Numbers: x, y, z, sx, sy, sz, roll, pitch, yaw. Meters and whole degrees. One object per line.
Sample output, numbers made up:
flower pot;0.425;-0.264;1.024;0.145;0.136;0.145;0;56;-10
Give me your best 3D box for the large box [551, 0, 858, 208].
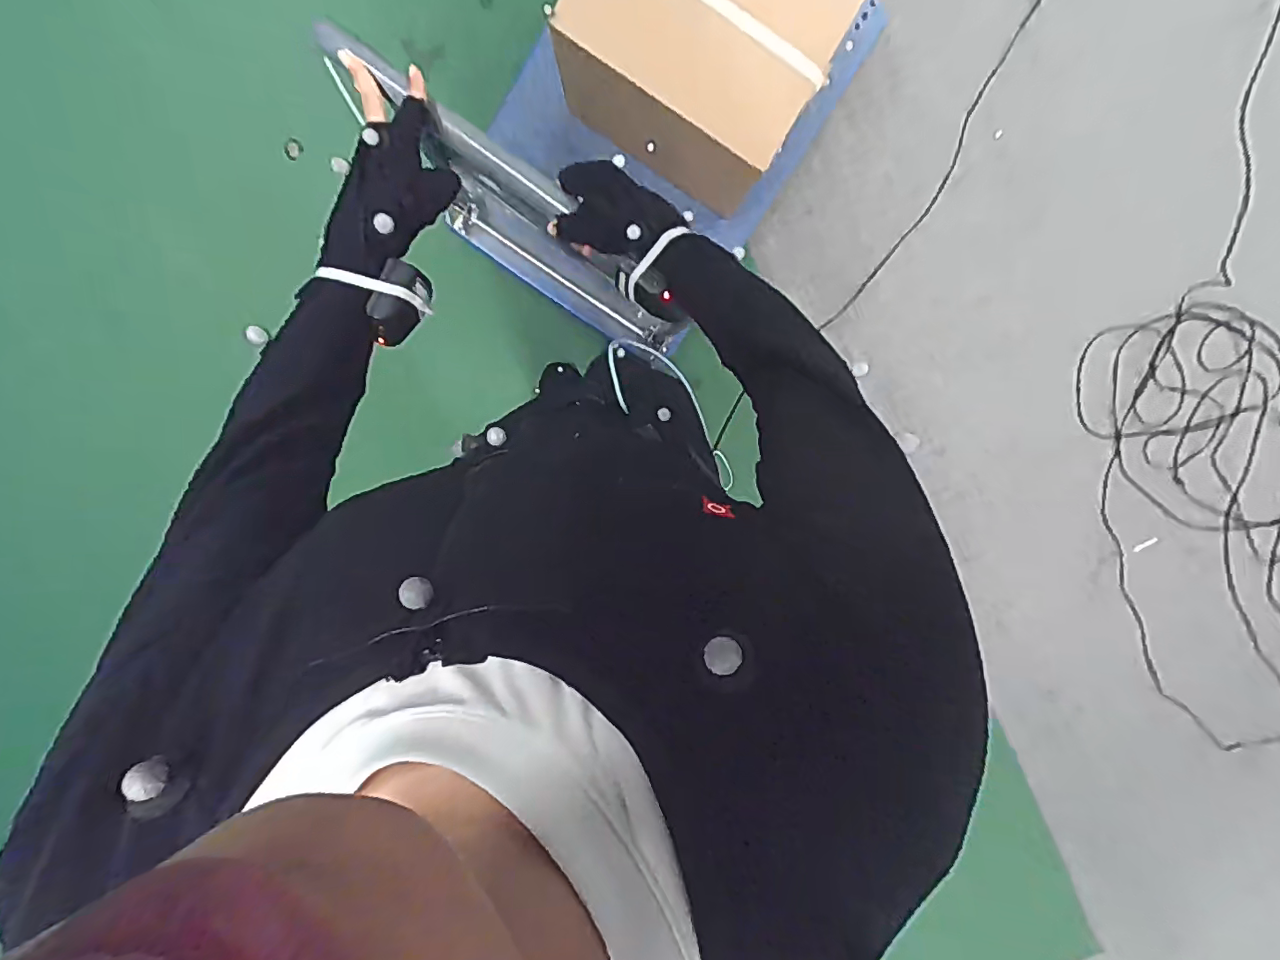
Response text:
large box;0.105;-0.771;0.976;0.408;0.320;0.320;30;100;-8
